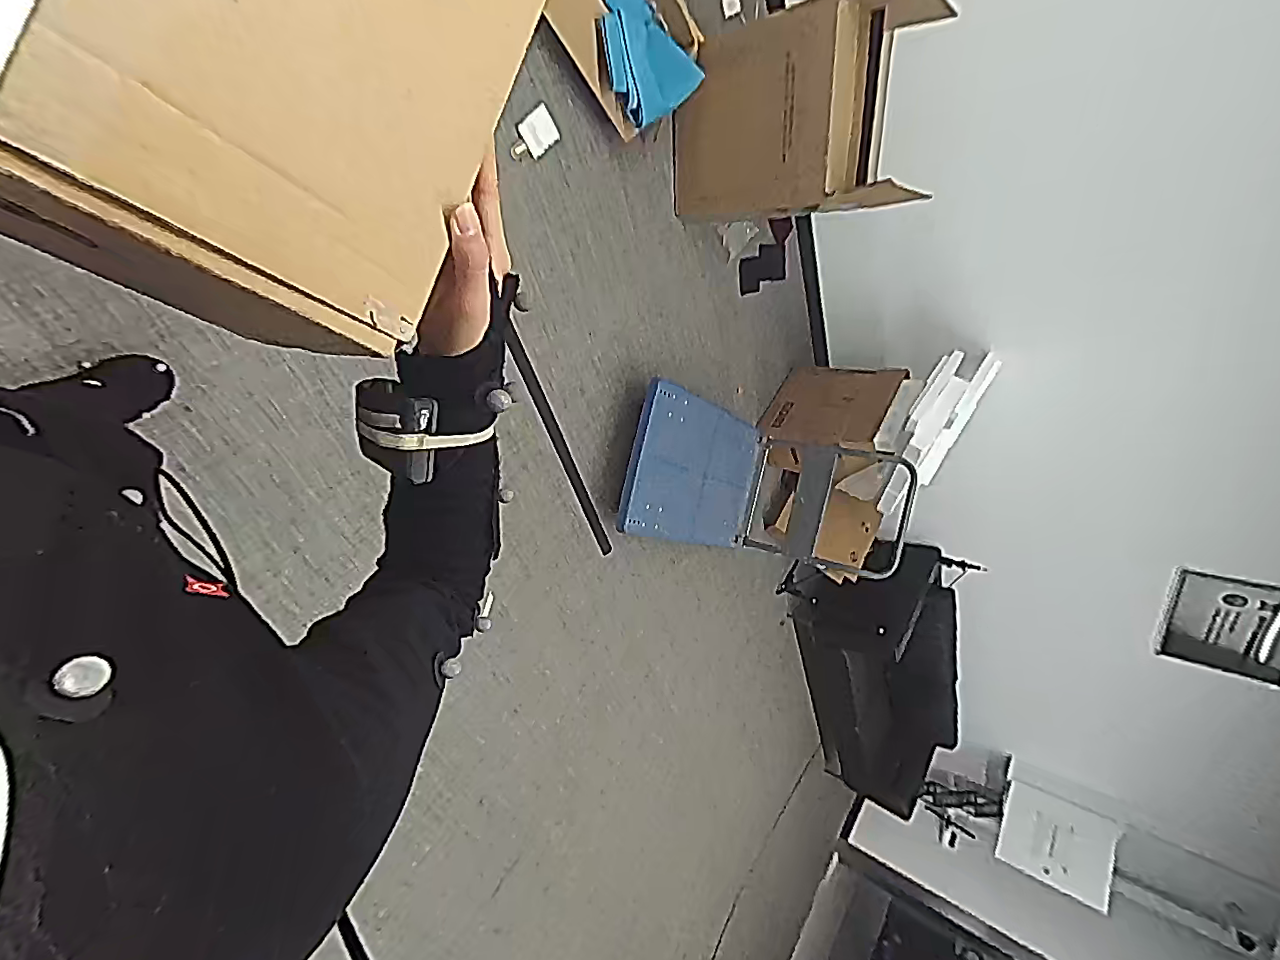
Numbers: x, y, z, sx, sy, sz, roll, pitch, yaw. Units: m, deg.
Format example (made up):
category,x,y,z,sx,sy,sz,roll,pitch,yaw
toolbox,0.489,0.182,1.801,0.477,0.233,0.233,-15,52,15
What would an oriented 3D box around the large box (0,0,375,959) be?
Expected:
category,x,y,z,sx,sy,sz,roll,pitch,yaw
large box,-0.366,-0.041,0.221,0.320,0.320,0.408,-5,129,-5
